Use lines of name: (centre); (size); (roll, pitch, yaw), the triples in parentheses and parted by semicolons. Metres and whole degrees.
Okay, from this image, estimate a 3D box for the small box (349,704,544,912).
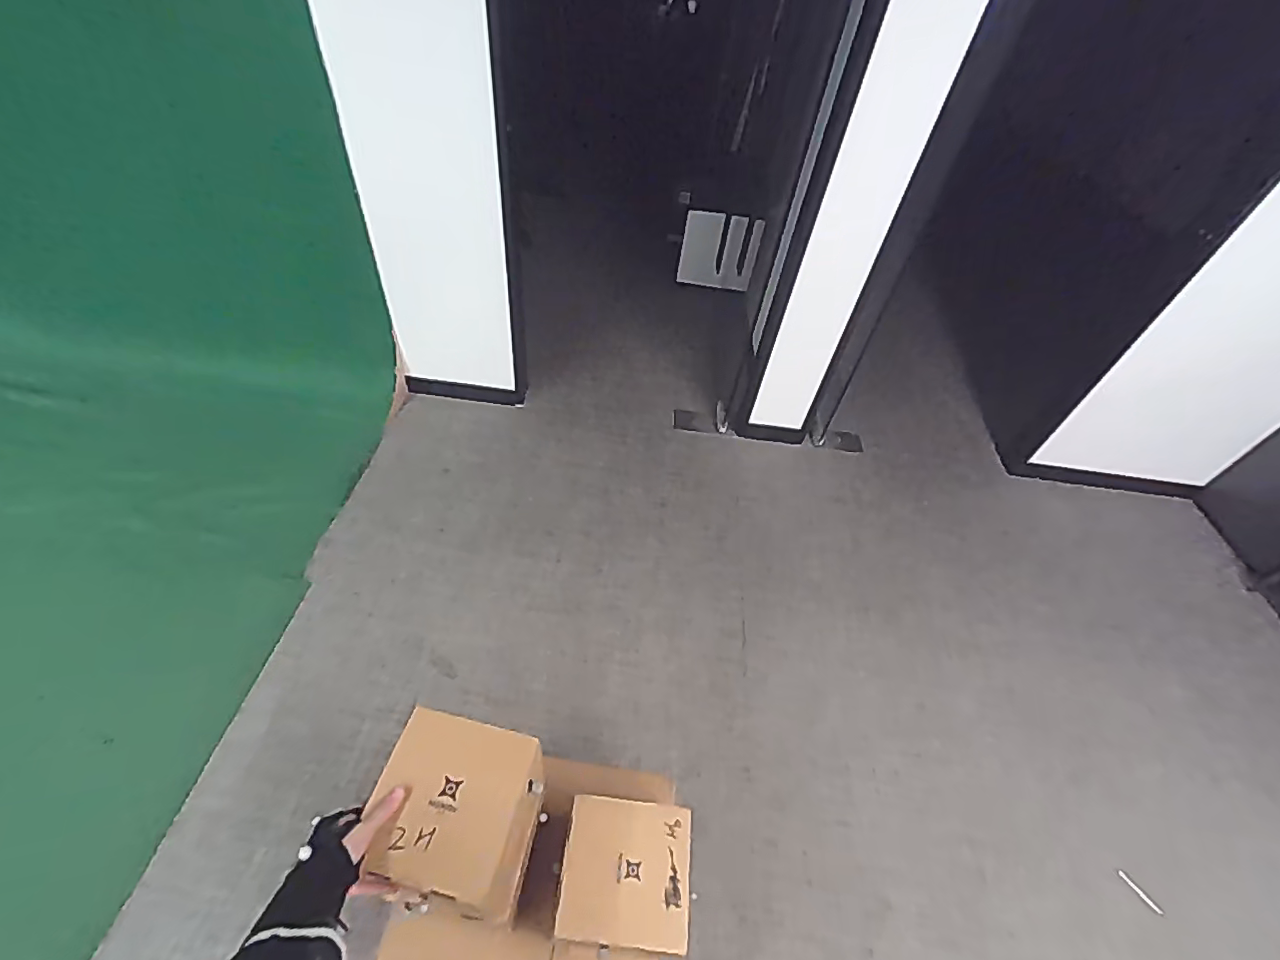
small box: (-0.227, 0.419, 0.691); (0.168, 0.176, 0.179); (12, 48, 5)
